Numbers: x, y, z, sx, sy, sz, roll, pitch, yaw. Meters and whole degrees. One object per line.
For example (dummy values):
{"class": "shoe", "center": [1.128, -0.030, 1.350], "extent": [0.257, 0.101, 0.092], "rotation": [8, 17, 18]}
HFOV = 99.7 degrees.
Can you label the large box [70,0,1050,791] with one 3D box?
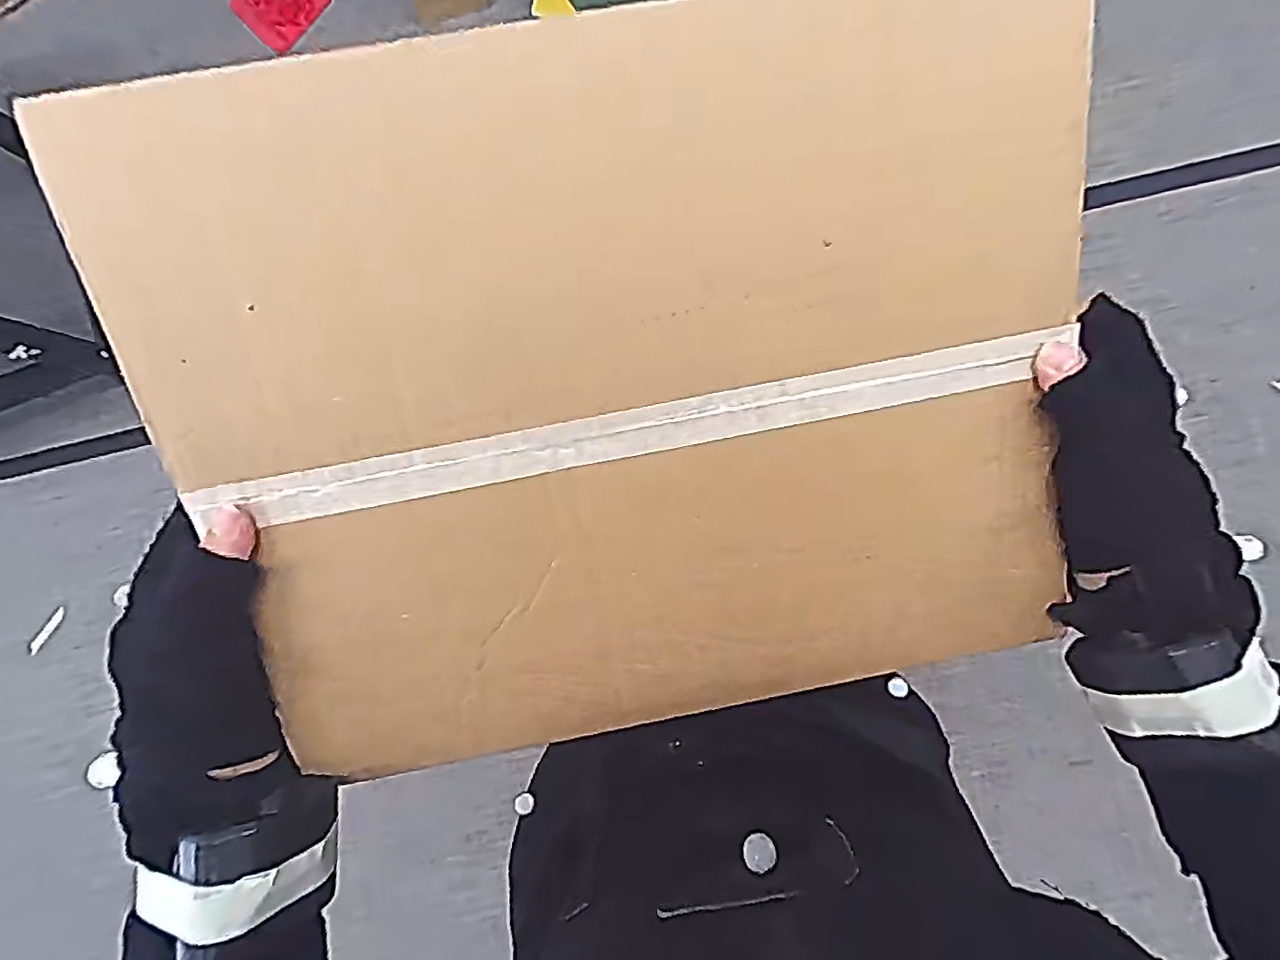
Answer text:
{"class": "large box", "center": [-0.012, -0.055, 0.399], "extent": [0.408, 0.320, 0.320], "rotation": [-11, 106, -2]}
